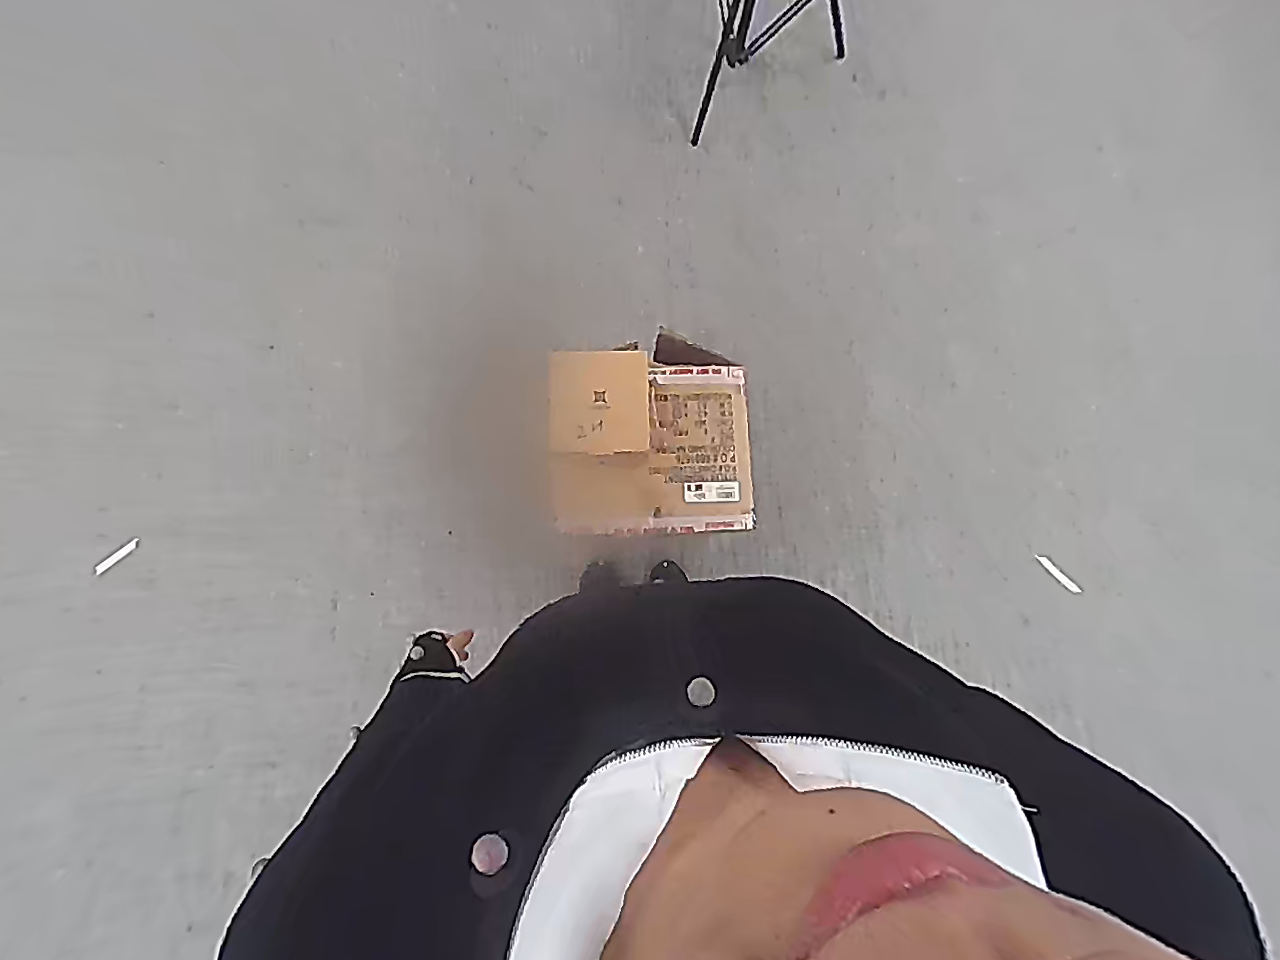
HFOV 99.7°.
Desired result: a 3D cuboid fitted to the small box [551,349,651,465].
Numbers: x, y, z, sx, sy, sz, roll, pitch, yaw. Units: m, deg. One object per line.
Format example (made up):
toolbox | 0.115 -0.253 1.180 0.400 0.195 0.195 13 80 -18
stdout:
small box | -0.067 -0.125 0.977 0.168 0.176 0.179 -1 84 -1
